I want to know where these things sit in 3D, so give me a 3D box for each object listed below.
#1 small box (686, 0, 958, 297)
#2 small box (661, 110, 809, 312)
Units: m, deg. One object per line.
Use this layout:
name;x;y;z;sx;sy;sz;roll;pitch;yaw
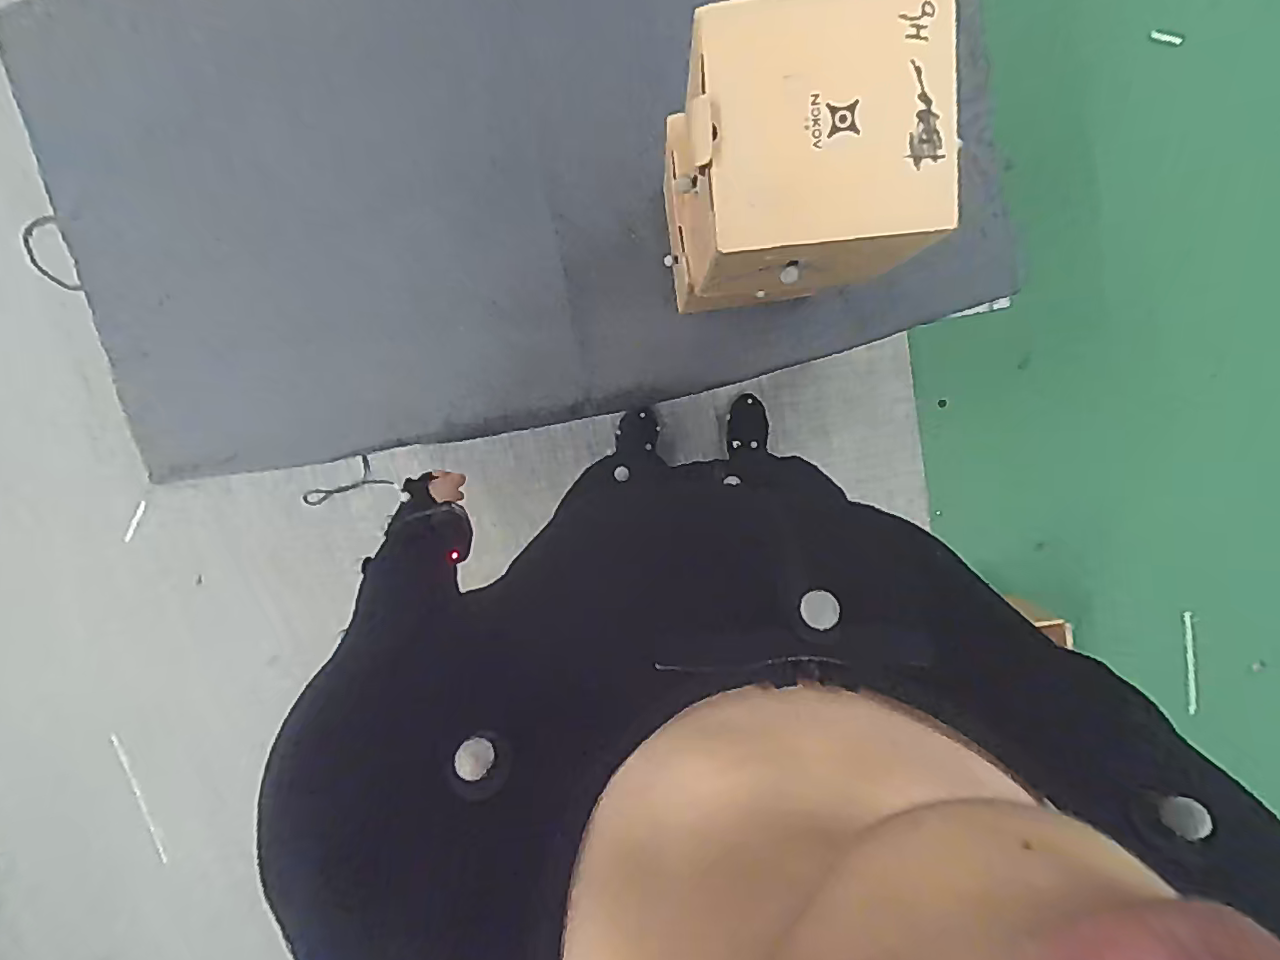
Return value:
small box;0.129;-0.255;0.445;0.179;0.176;0.168;-5;98;3
small box;0.119;-0.293;0.605;0.179;0.176;0.168;-8;98;2
